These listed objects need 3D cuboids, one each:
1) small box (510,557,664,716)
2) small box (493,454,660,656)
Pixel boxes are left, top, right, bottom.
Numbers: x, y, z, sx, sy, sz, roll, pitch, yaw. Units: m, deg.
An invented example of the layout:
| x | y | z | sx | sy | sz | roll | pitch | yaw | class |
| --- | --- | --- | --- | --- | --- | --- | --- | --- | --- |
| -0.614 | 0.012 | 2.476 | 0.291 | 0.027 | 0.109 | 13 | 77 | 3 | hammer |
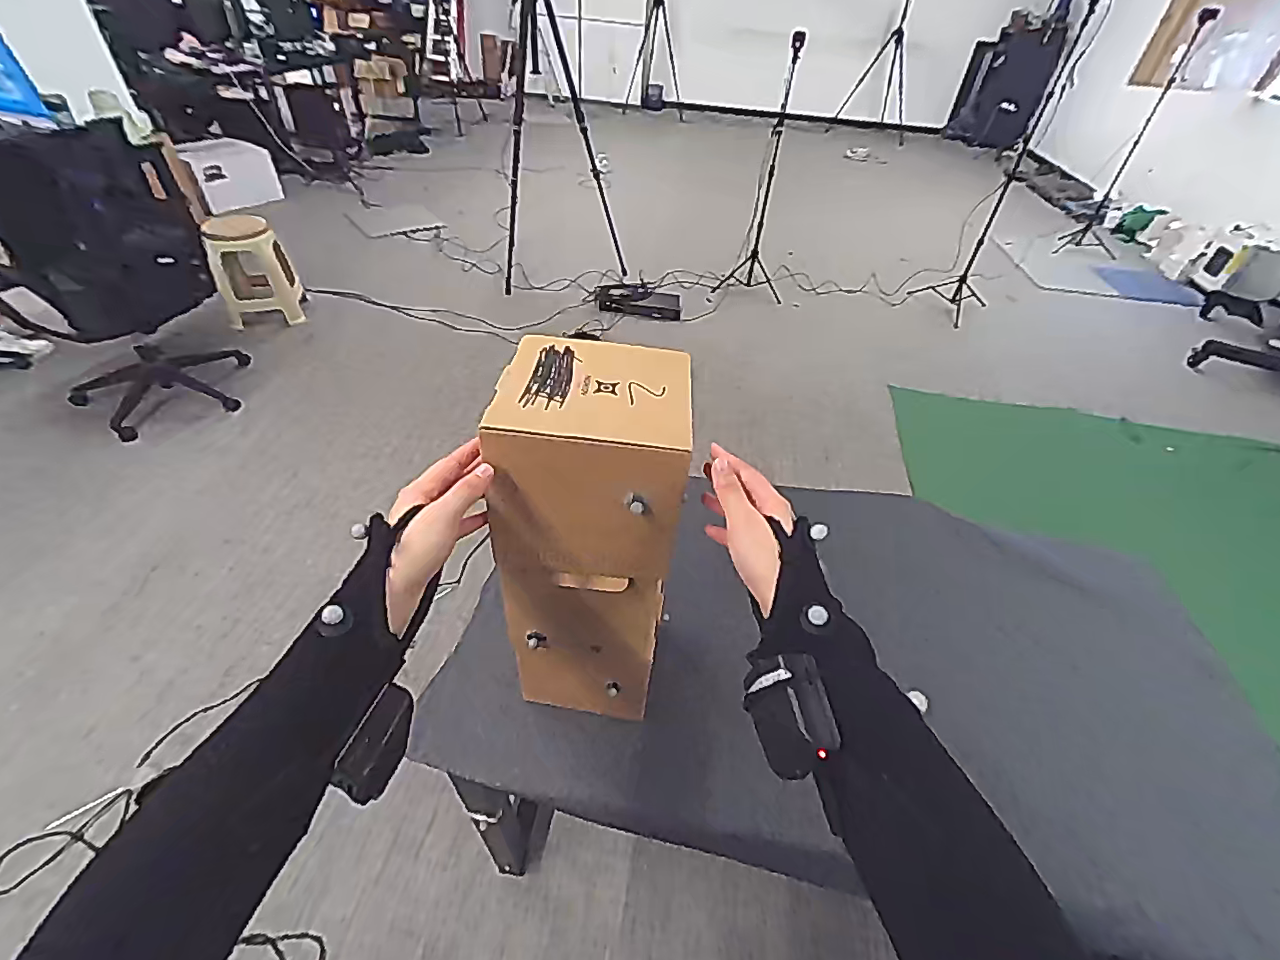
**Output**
| x | y | z | sx | sy | sz | roll | pitch | yaw | class |
| --- | --- | --- | --- | --- | --- | --- | --- | --- | --- |
| -0.067 | 0.214 | 0.770 | 0.179 | 0.176 | 0.168 | 7 | 41 | 4 | small box |
| -0.067 | 0.092 | 0.659 | 0.168 | 0.176 | 0.179 | 6 | 41 | 0 | small box |
